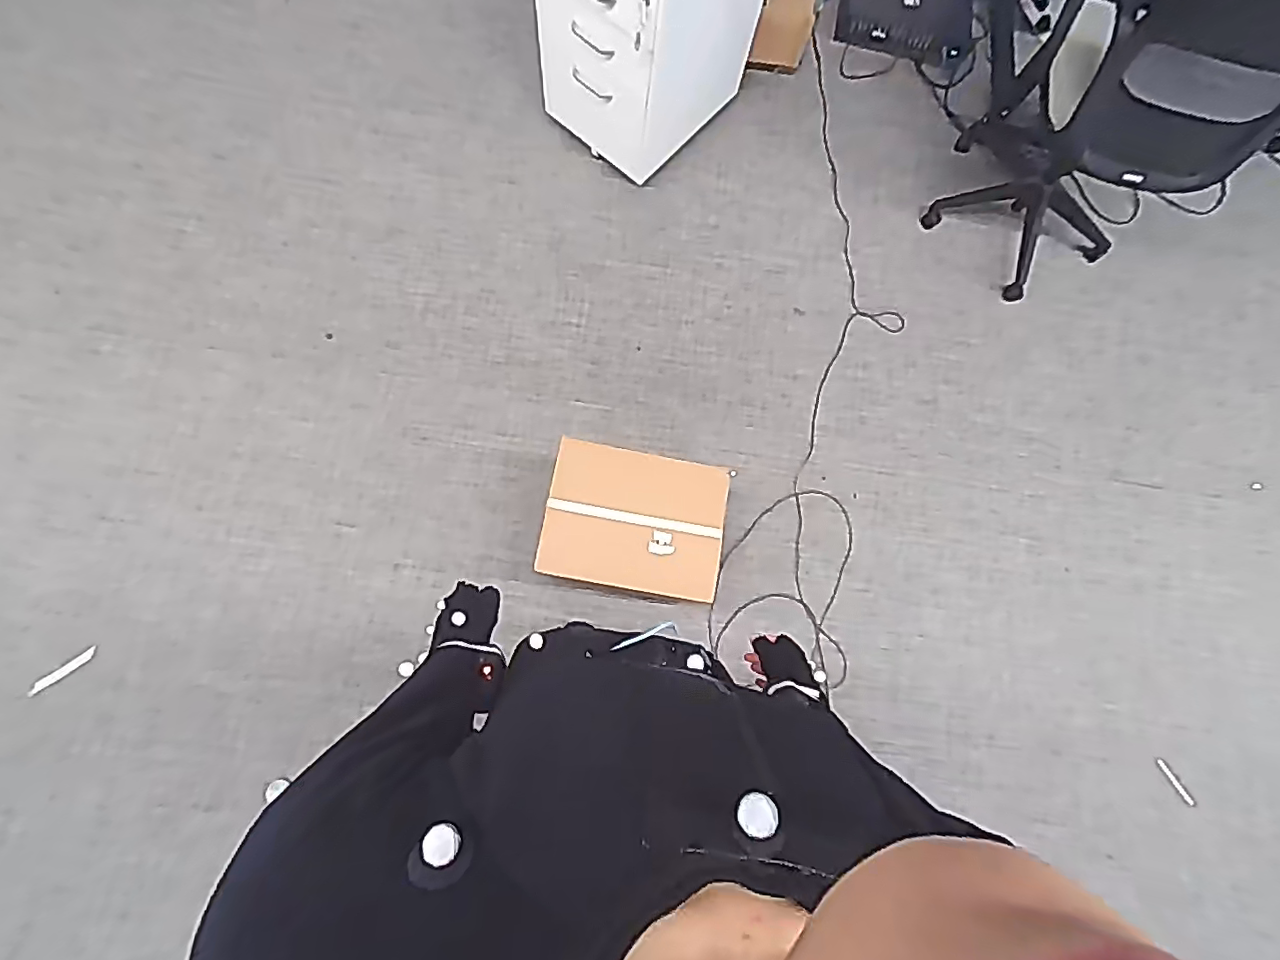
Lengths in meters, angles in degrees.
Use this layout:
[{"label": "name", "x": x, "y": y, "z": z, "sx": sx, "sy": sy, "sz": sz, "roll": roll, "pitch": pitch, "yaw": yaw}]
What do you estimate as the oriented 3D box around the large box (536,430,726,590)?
[{"label": "large box", "x": -0.031, "y": 0.094, "z": 1.375, "sx": 0.408, "sy": 0.320, "sz": 0.320, "roll": 11, "pitch": 78, "yaw": -4}]
